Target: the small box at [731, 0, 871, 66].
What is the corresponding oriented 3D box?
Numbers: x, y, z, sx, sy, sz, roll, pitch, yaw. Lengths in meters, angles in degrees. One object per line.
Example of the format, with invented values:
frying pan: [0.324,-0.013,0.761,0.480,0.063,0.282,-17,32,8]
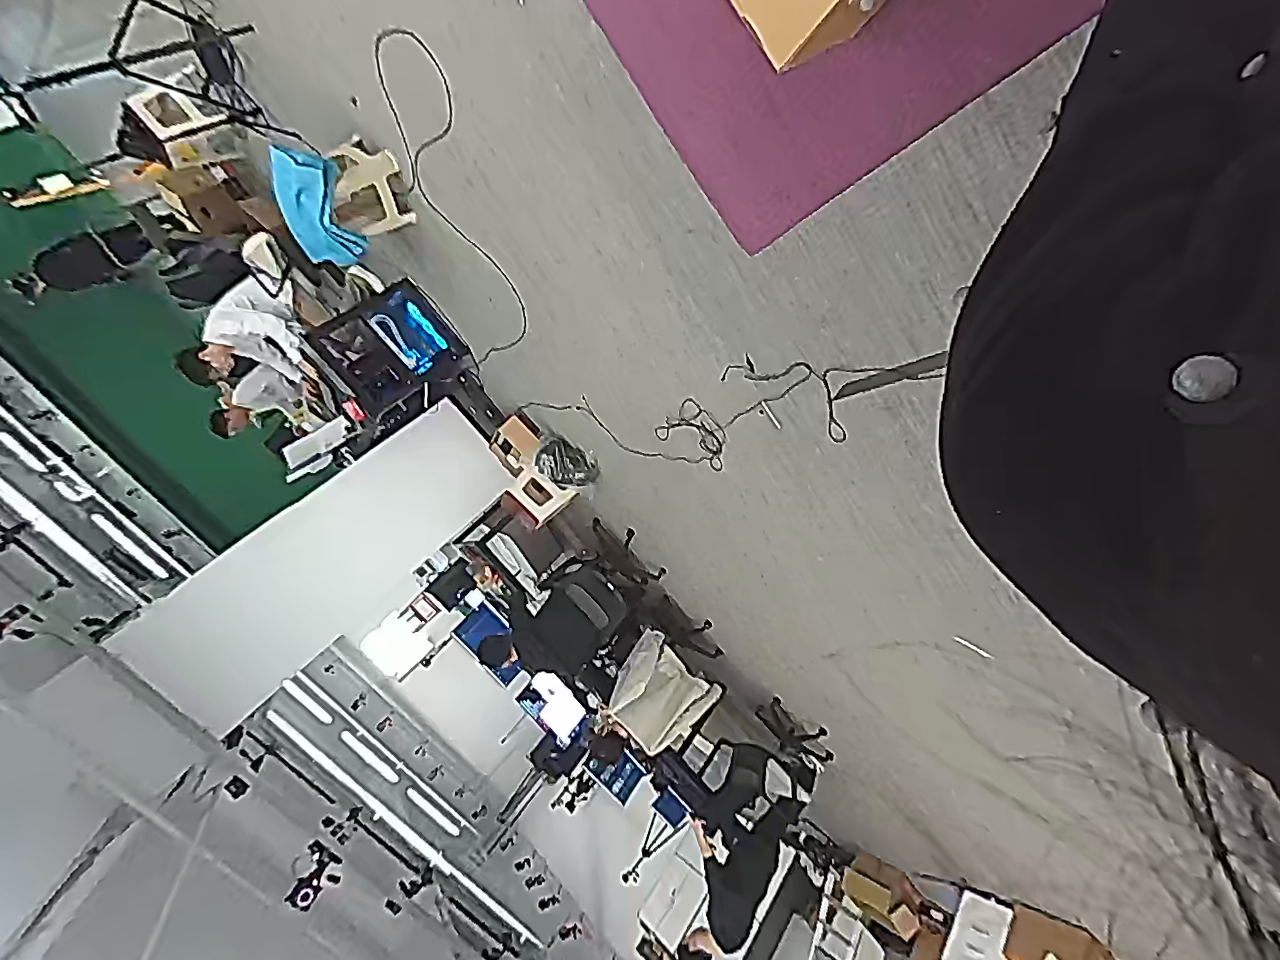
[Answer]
small box: [0.172,-0.529,0.475,0.168,0.176,0.179,51,152,-12]
